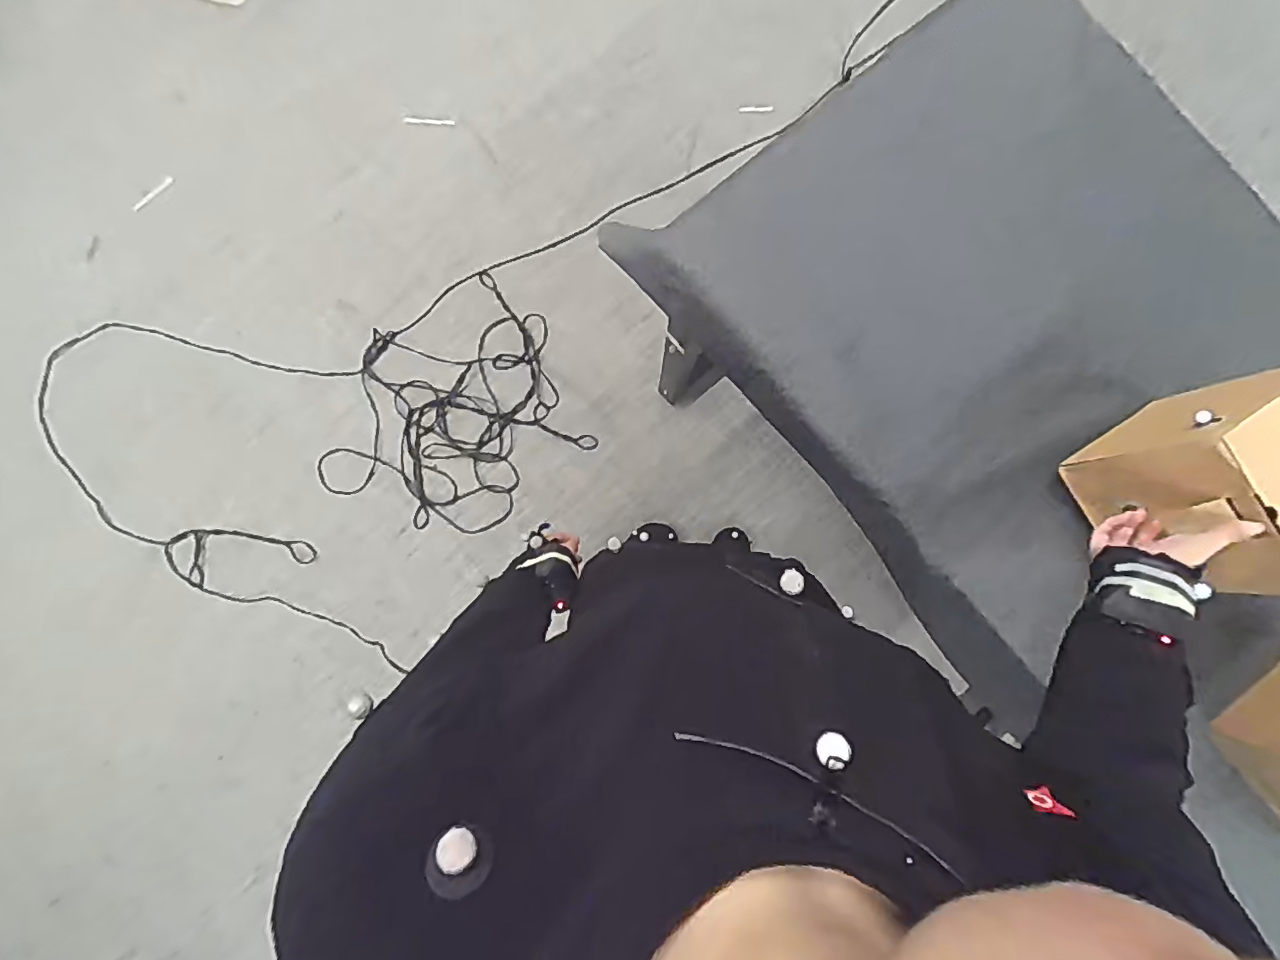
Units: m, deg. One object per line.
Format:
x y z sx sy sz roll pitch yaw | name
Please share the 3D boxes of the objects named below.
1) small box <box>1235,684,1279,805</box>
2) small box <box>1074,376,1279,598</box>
0.783 0.301 0.545 0.179 0.176 0.168 -39 88 -5 | small box
0.616 0.004 0.558 0.179 0.176 0.168 -30 86 -11 | small box
